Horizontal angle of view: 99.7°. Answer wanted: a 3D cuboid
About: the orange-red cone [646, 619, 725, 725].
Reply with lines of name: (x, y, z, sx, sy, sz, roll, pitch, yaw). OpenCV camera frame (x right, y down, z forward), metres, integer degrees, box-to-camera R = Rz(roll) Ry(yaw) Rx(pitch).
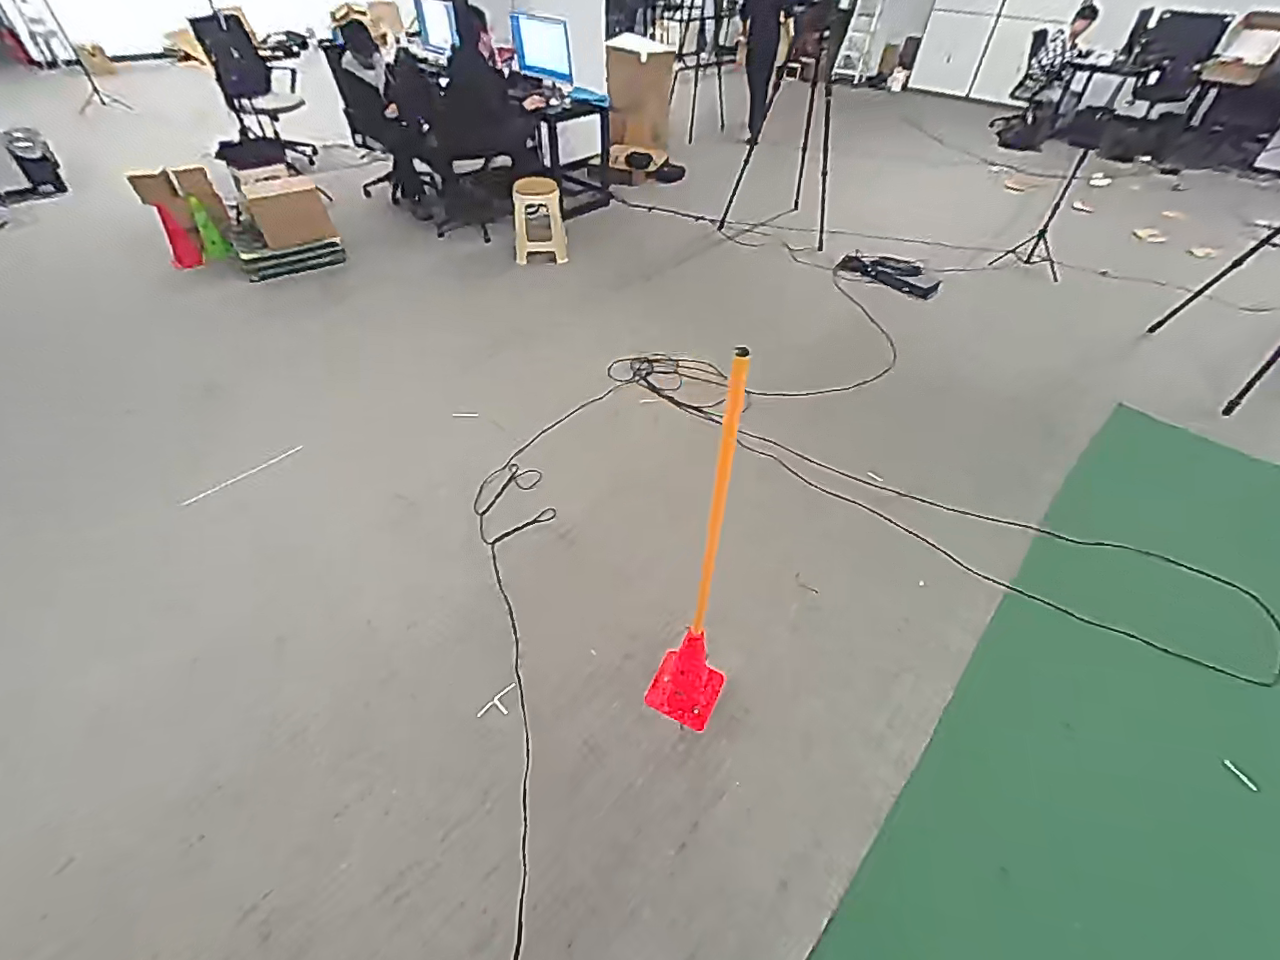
orange-red cone: (0.148, 0.499, 1.524, 0.198, 0.360, 0.199, 22, 48, 18)
